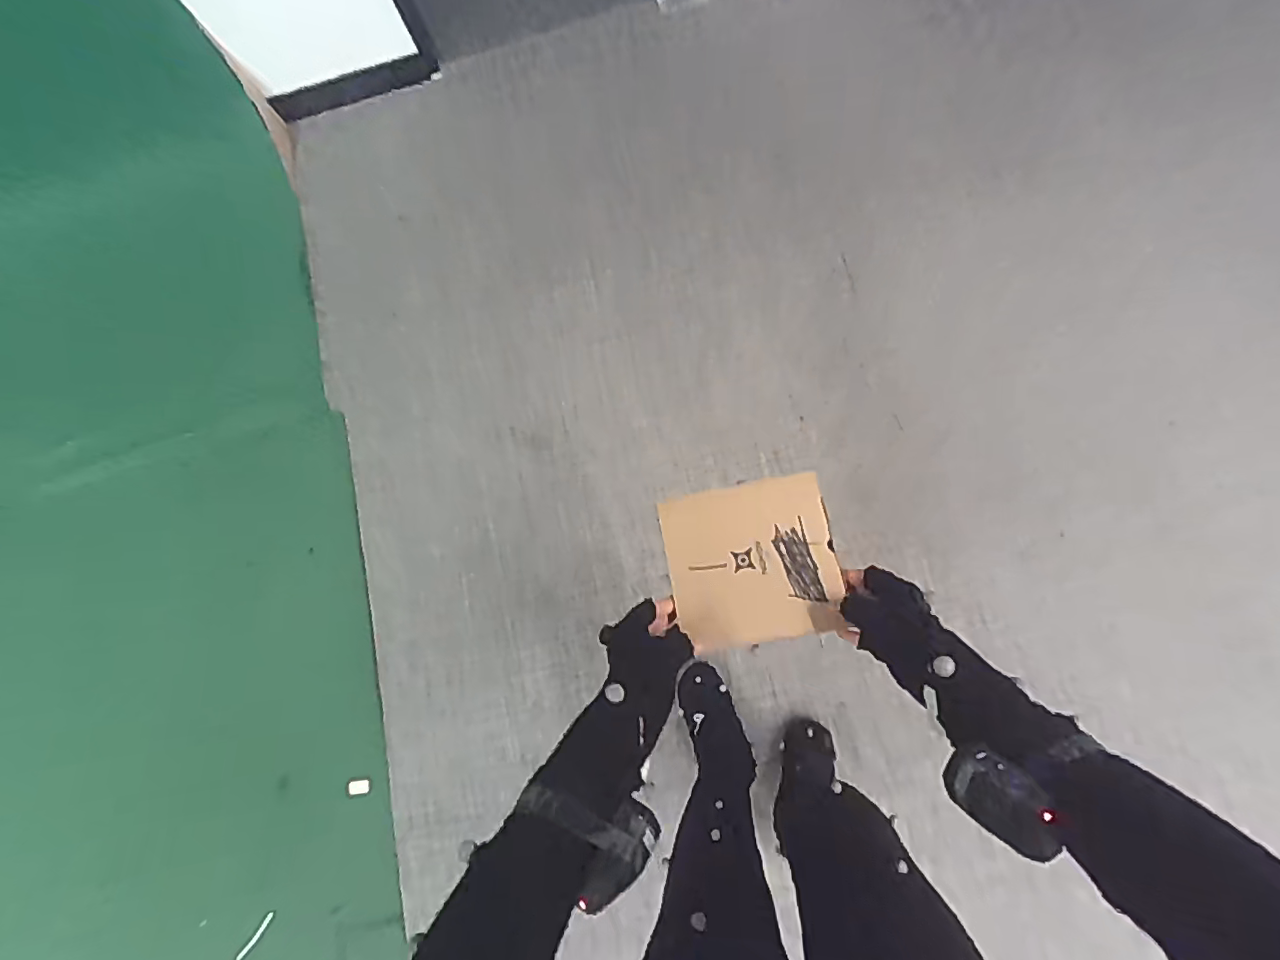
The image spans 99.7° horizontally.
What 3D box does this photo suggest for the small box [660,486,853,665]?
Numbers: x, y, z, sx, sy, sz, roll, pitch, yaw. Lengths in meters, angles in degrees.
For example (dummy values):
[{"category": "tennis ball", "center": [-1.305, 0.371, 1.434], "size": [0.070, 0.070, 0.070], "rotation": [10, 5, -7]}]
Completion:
[{"category": "small box", "center": [0.125, 0.120, 0.646], "size": [0.179, 0.176, 0.168], "rotation": [-11, 72, 3]}]
